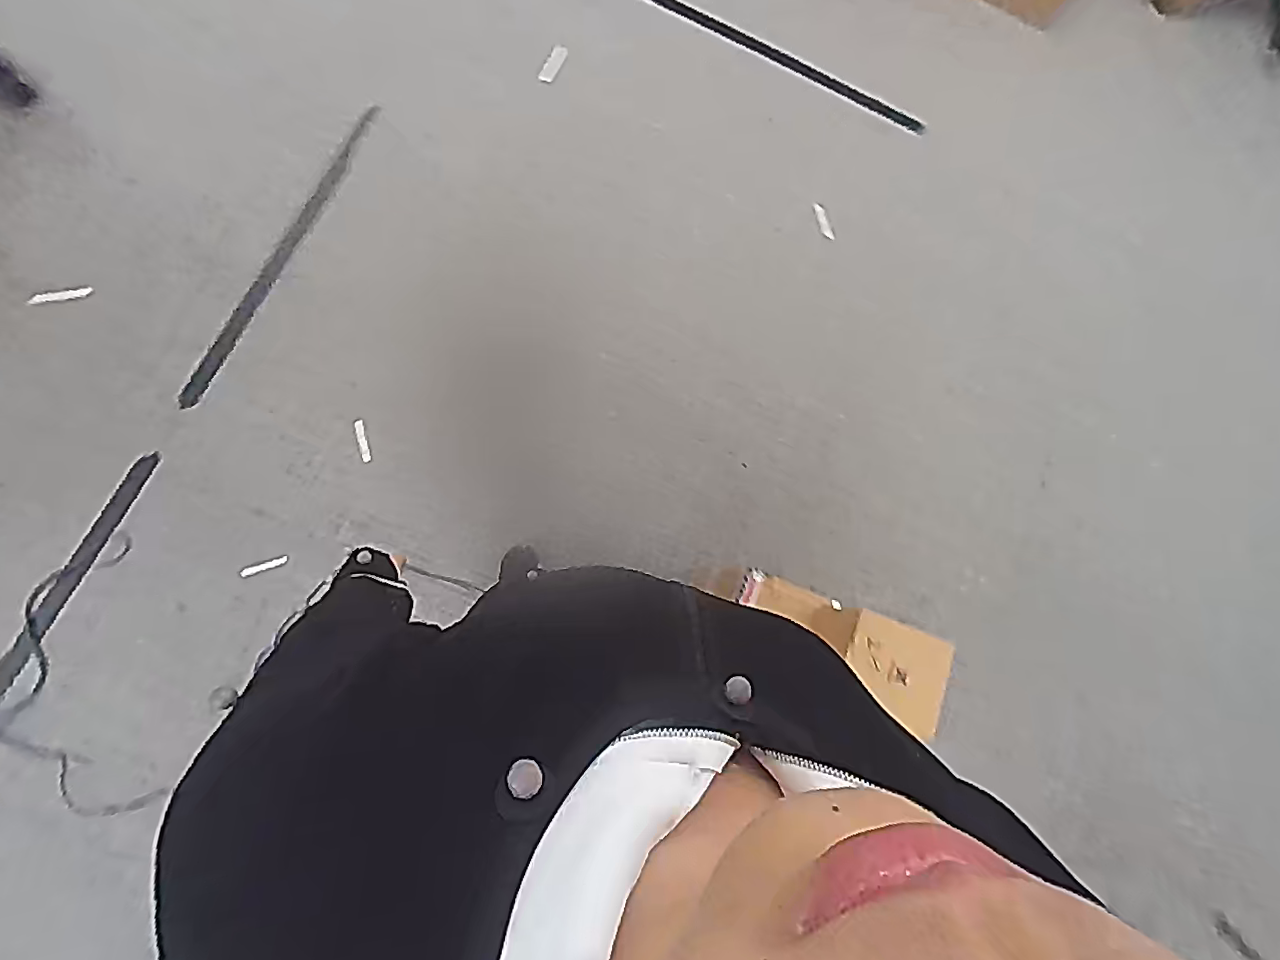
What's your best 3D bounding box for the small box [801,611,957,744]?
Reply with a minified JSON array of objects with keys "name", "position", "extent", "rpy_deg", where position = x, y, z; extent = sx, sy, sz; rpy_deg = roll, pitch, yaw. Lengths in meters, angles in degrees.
[{"name":"small box","position":[0.419,0.340,0.971],"extent":[0.179,0.176,0.168],"rpy_deg":[22,76,0]}]
